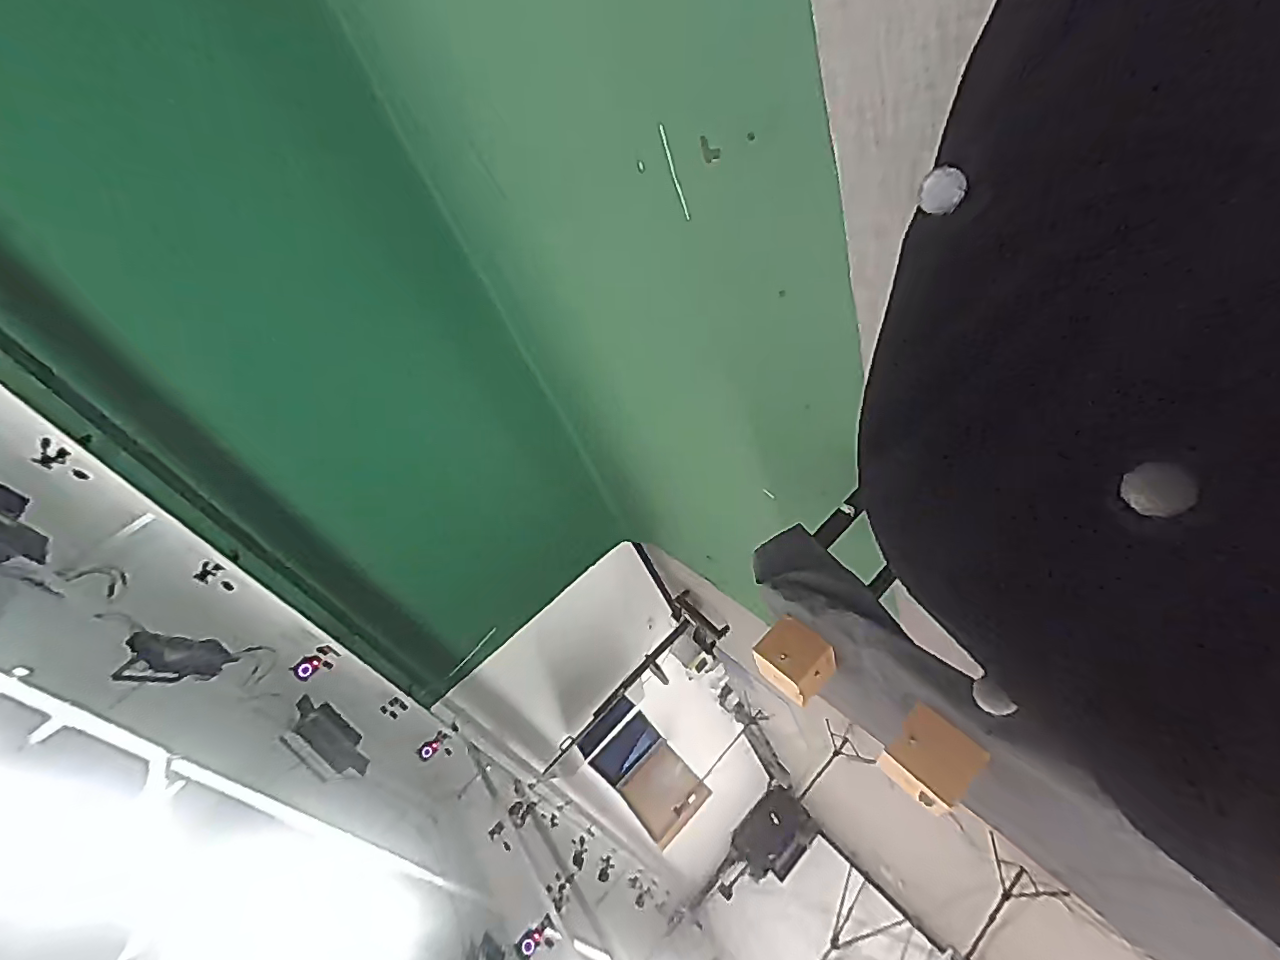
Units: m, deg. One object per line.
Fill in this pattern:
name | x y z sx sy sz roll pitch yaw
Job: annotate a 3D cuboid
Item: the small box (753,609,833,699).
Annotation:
small box | 0.482 0.534 1.678 0.179 0.176 0.168 33 156 43
